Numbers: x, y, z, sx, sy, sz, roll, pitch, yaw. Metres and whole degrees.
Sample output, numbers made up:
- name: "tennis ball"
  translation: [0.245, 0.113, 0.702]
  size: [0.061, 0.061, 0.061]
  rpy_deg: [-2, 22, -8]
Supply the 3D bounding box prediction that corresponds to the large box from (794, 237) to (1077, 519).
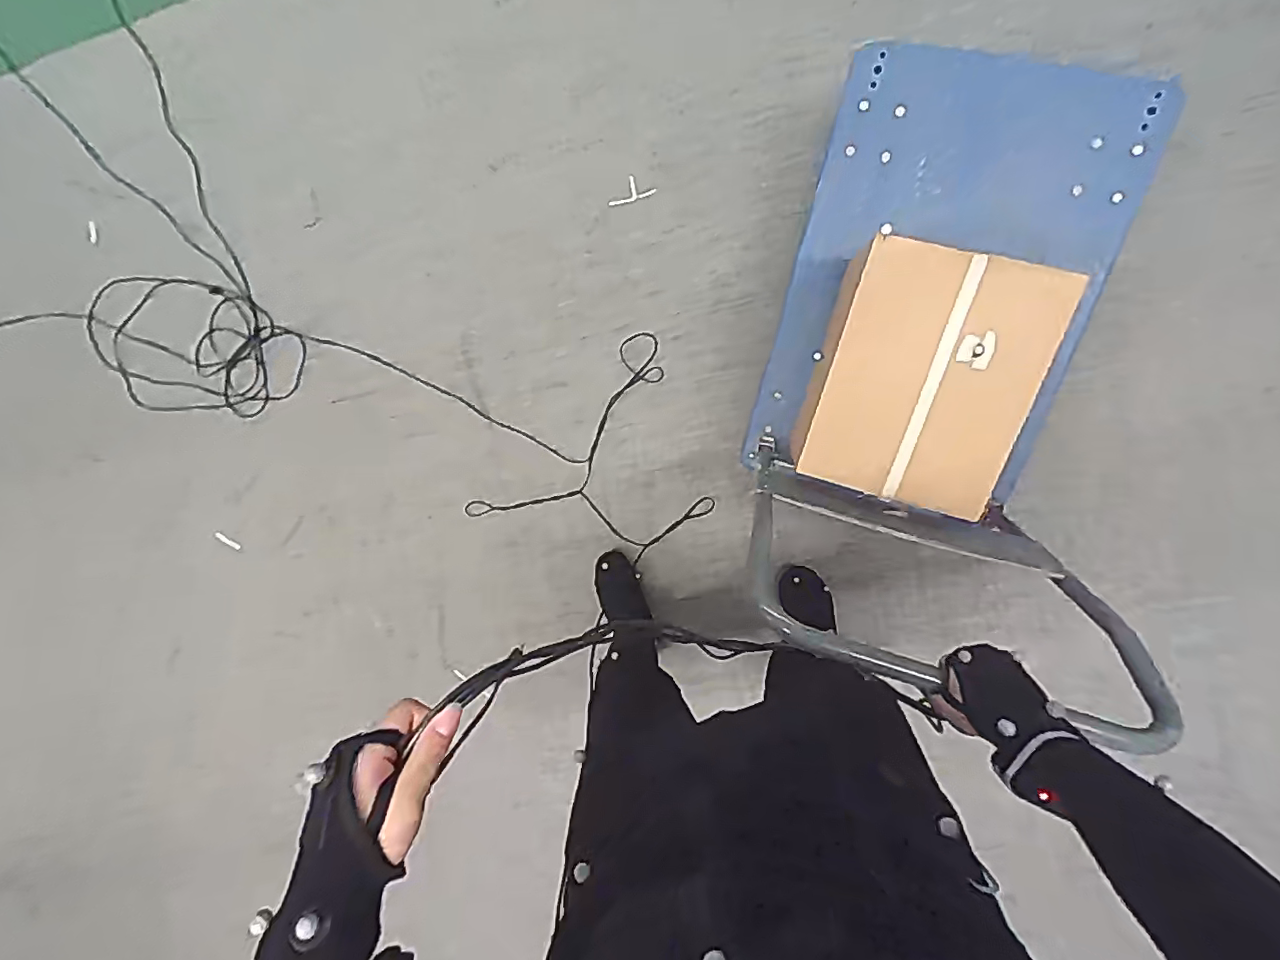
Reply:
- name: "large box"
  translation: [0.502, -0.190, 1.026]
  size: [0.320, 0.320, 0.408]
  rpy_deg: [17, 106, 9]
